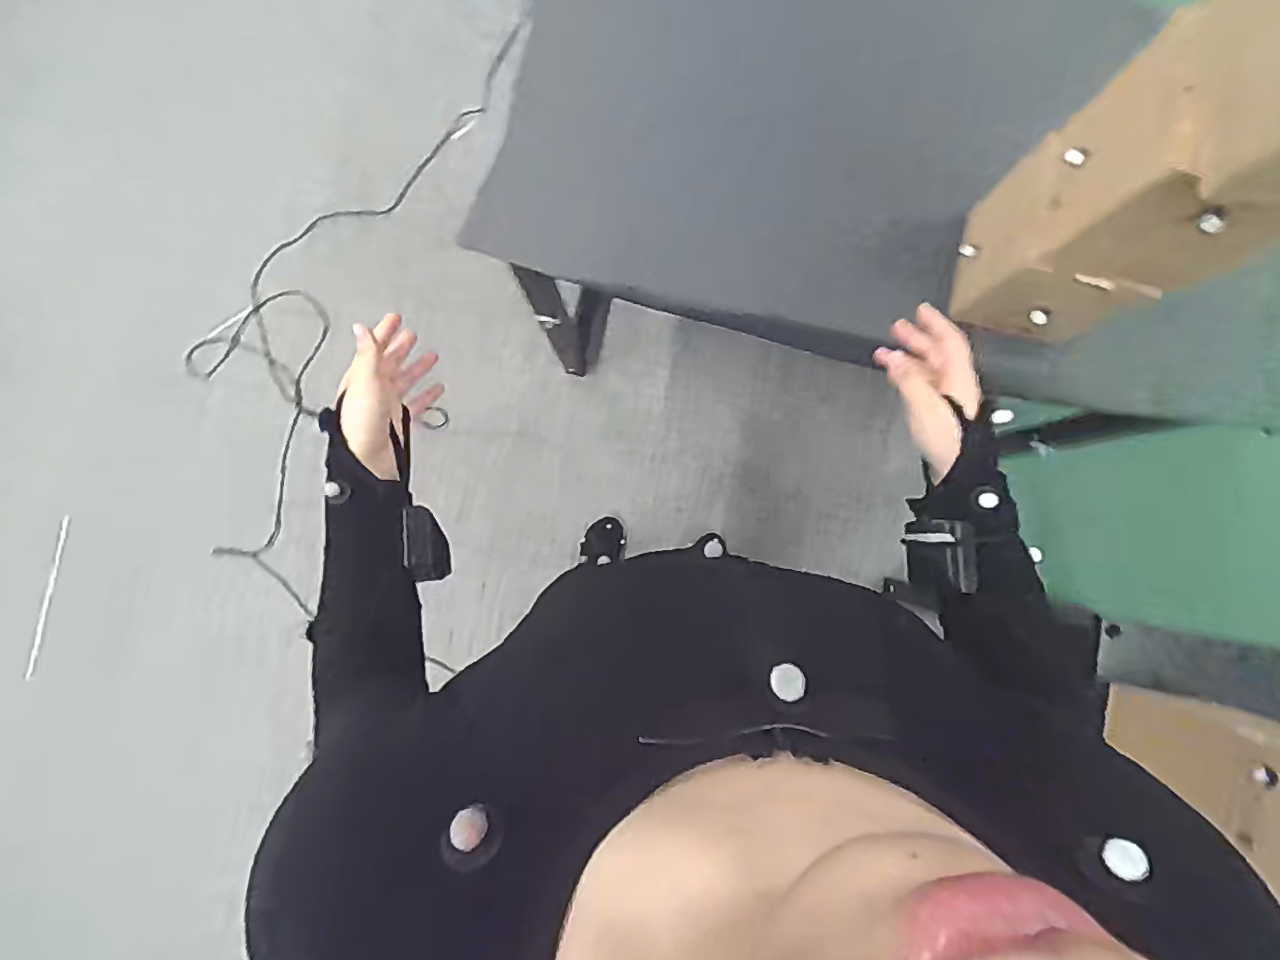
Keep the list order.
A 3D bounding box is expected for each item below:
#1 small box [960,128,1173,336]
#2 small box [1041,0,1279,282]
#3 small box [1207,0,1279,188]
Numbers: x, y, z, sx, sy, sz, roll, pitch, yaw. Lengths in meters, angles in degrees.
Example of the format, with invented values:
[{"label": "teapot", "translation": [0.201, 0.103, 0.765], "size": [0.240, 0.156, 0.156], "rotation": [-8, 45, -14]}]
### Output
[{"label": "small box", "translation": [0.558, -0.311, 0.713], "size": [0.168, 0.176, 0.179], "rotation": [14, 85, 3]}, {"label": "small box", "translation": [0.565, -0.324, 0.550], "size": [0.179, 0.176, 0.168], "rotation": [12, 85, 3]}, {"label": "small box", "translation": [0.568, -0.330, 0.385], "size": [0.168, 0.176, 0.179], "rotation": [4, 84, 1]}]
